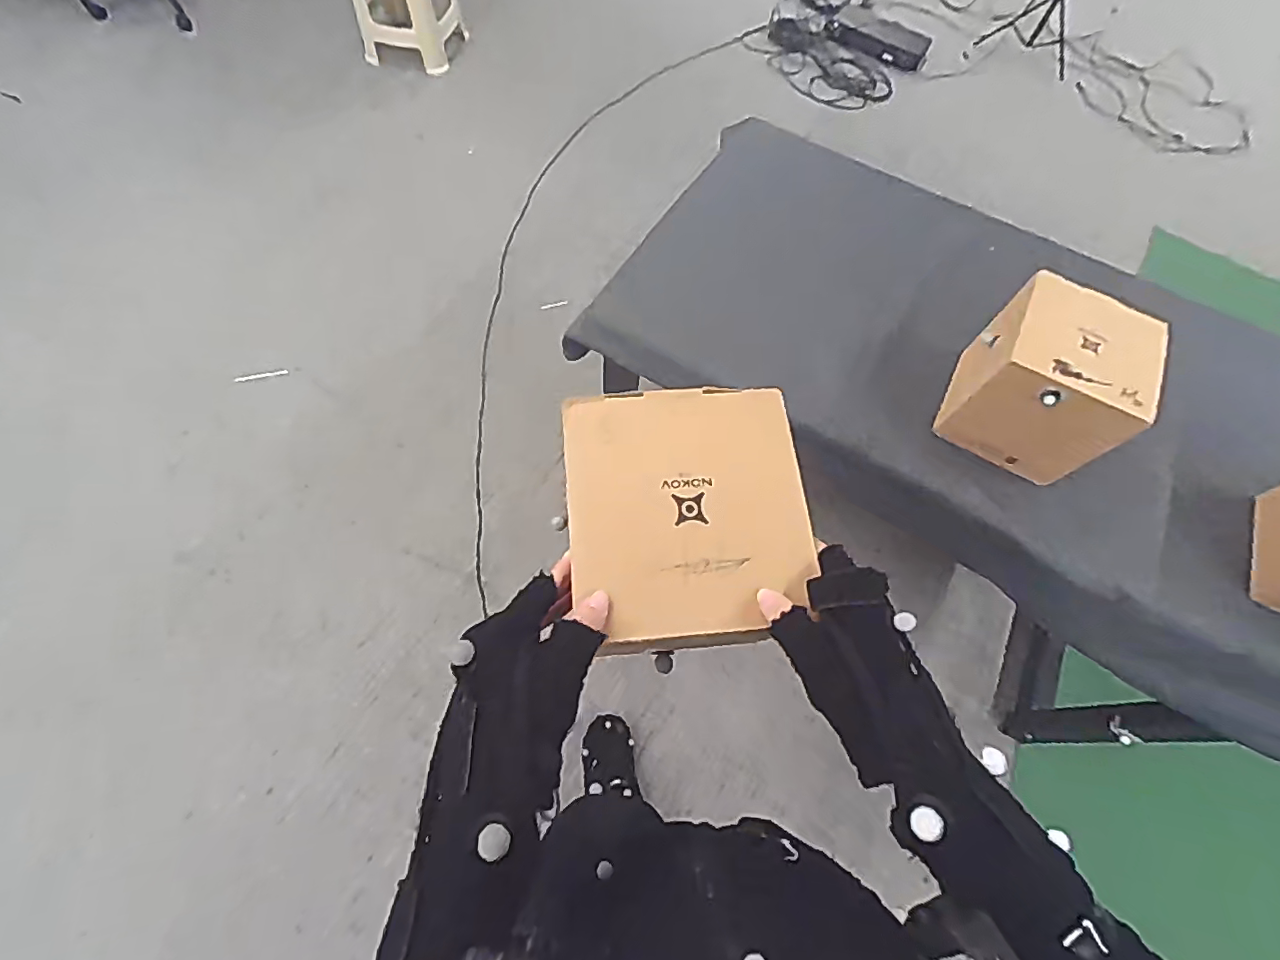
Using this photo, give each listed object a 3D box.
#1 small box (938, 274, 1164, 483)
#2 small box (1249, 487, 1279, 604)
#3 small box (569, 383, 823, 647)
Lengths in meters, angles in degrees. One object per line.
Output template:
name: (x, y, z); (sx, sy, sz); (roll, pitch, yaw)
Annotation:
small box: (0.535, -0.129, 0.722); (0.168, 0.176, 0.179); (29, 65, 10)
small box: (0.894, 0.088, 0.640); (0.168, 0.176, 0.179); (30, 64, 11)
small box: (0.027, 0.038, 0.451); (0.168, 0.176, 0.179); (-4, 71, -6)
